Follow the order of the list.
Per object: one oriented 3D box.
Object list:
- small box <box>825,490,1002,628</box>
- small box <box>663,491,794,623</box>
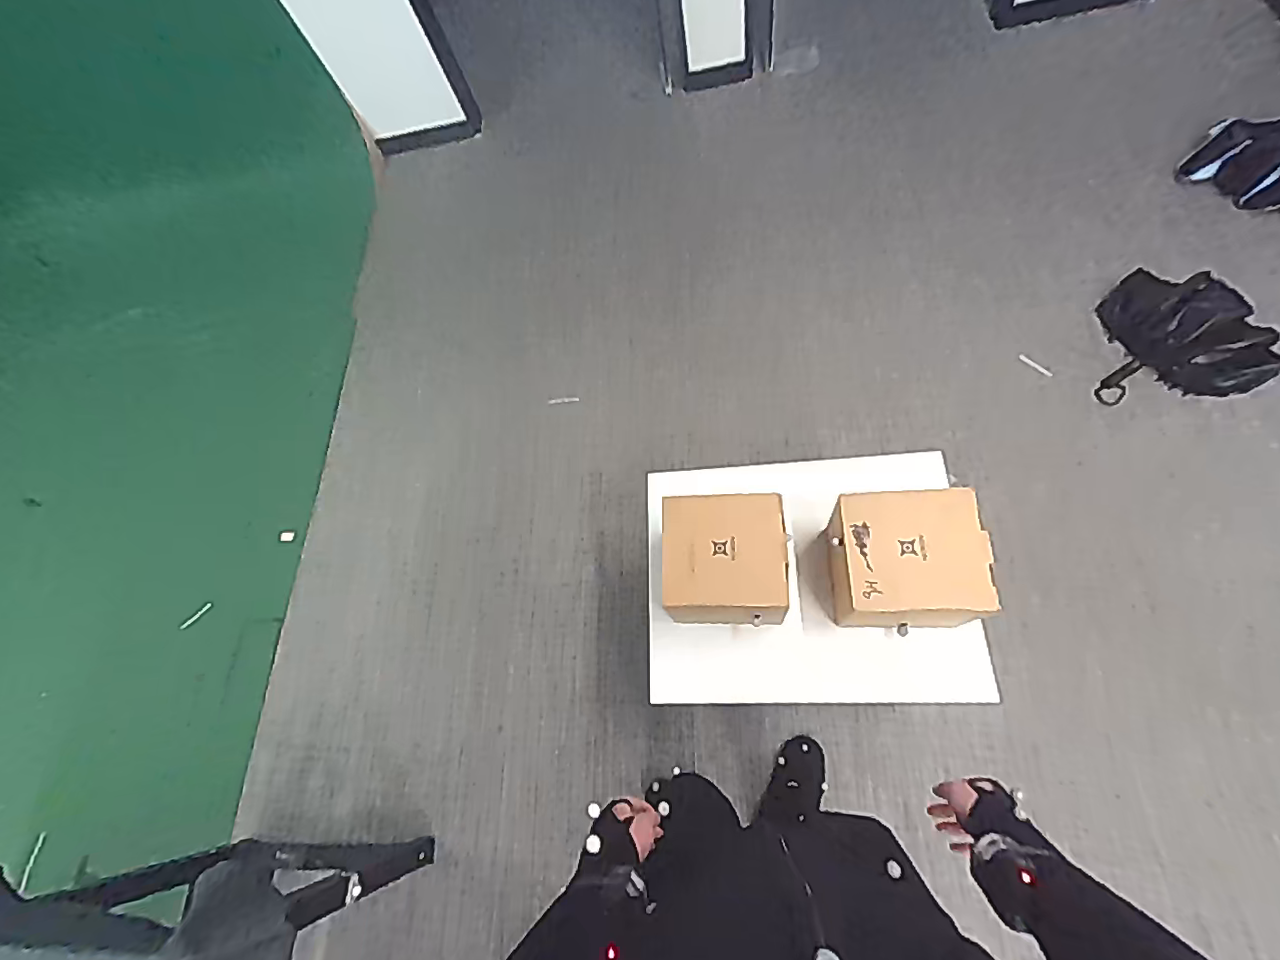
[{"bbox_3d":[0.378,0.118,0.781,0.179,0.176,0.168,-2,68,9],"label":"small box"},{"bbox_3d":[0.132,0.122,0.826,0.179,0.176,0.168,-2,67,10],"label":"small box"}]
